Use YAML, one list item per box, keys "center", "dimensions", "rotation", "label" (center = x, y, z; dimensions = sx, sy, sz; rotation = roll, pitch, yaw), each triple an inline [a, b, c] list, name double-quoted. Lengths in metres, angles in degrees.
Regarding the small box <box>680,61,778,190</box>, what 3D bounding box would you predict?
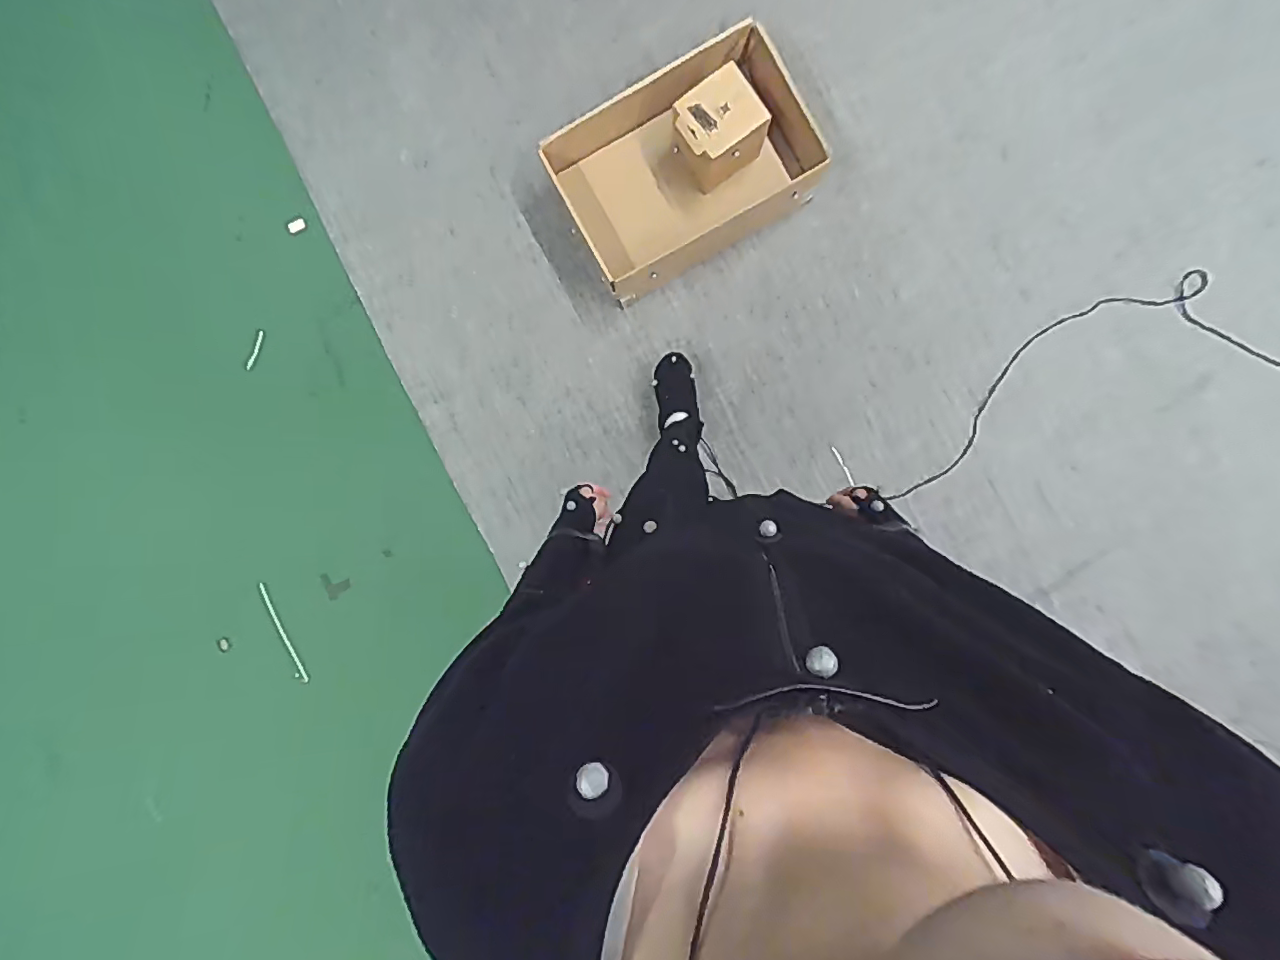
- center: [0.217, -0.874, 1.356]
  dimensions: [0.179, 0.176, 0.168]
  rotation: [-35, 90, 4]
  label: "small box"
